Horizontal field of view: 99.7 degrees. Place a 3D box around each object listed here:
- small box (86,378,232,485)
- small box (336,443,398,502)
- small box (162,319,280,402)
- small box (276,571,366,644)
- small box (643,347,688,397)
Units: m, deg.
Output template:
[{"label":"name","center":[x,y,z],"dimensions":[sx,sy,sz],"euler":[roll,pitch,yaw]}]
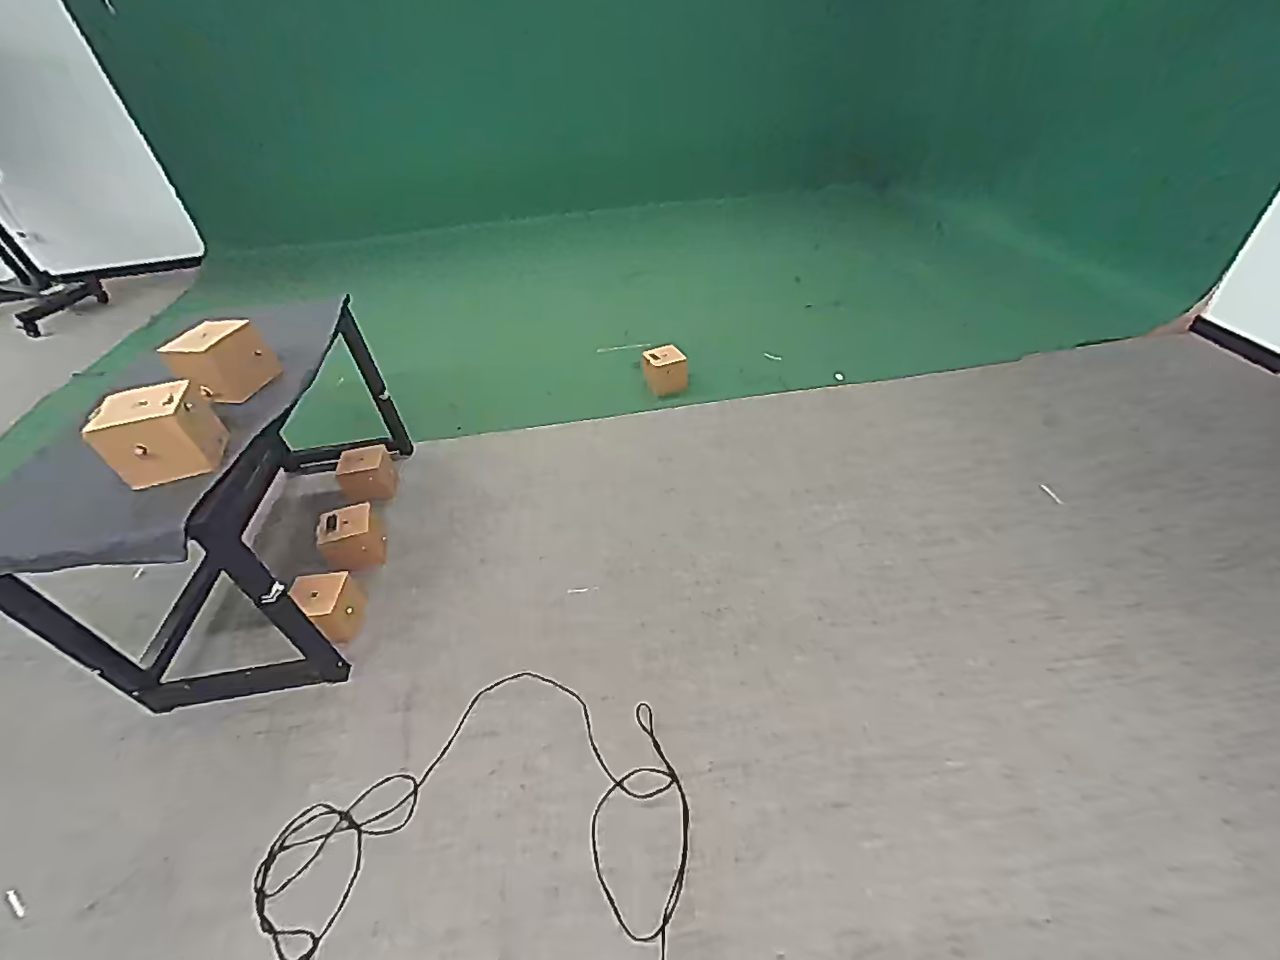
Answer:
[{"label":"small box","center":[-1.116,-0.112,1.272],"dimensions":[0.179,0.176,0.168],"euler":[-16,43,-12]},{"label":"small box","center":[-1.136,-0.030,2.268],"dimensions":[0.179,0.176,0.168],"euler":[-11,42,-7]},{"label":"small box","center":[-1.167,-0.340,1.530],"dimensions":[0.168,0.176,0.179],"euler":[3,44,14]},{"label":"small box","center":[-1.030,0.419,1.768],"dimensions":[0.179,0.176,0.168],"euler":[-5,42,0]},{"label":"small box","center":[0.130,-0.538,2.703],"dimensions":[0.179,0.176,0.168],"euler":[-18,44,-15]}]
